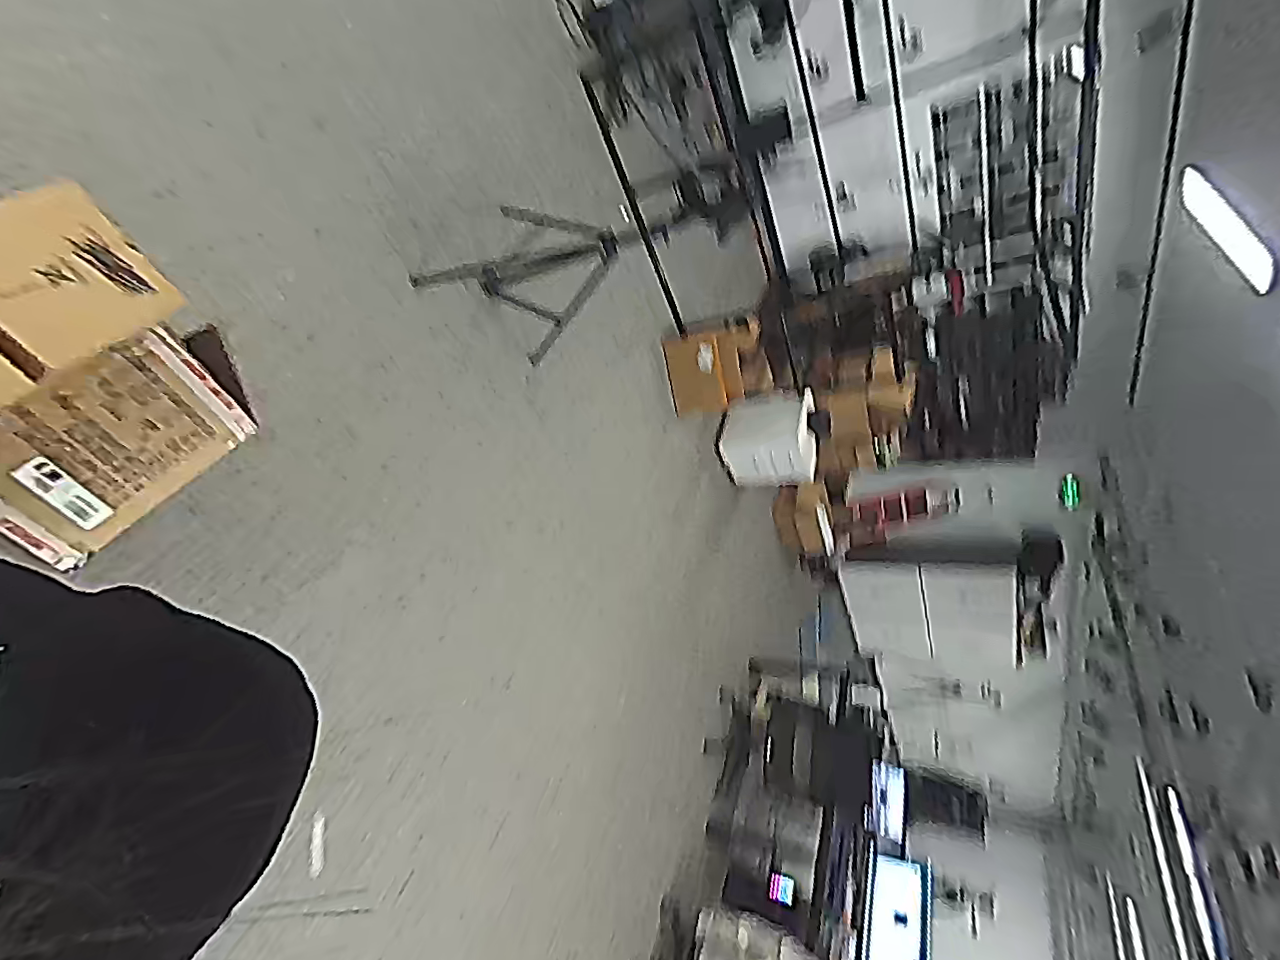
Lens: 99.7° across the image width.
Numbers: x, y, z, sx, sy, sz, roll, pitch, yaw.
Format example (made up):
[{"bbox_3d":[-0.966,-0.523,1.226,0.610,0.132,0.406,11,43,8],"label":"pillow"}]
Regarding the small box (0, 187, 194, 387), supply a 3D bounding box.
[{"bbox_3d":[-0.741,-0.239,0.690,0.168,0.176,0.179,61,43,-31],"label":"small box"}]
